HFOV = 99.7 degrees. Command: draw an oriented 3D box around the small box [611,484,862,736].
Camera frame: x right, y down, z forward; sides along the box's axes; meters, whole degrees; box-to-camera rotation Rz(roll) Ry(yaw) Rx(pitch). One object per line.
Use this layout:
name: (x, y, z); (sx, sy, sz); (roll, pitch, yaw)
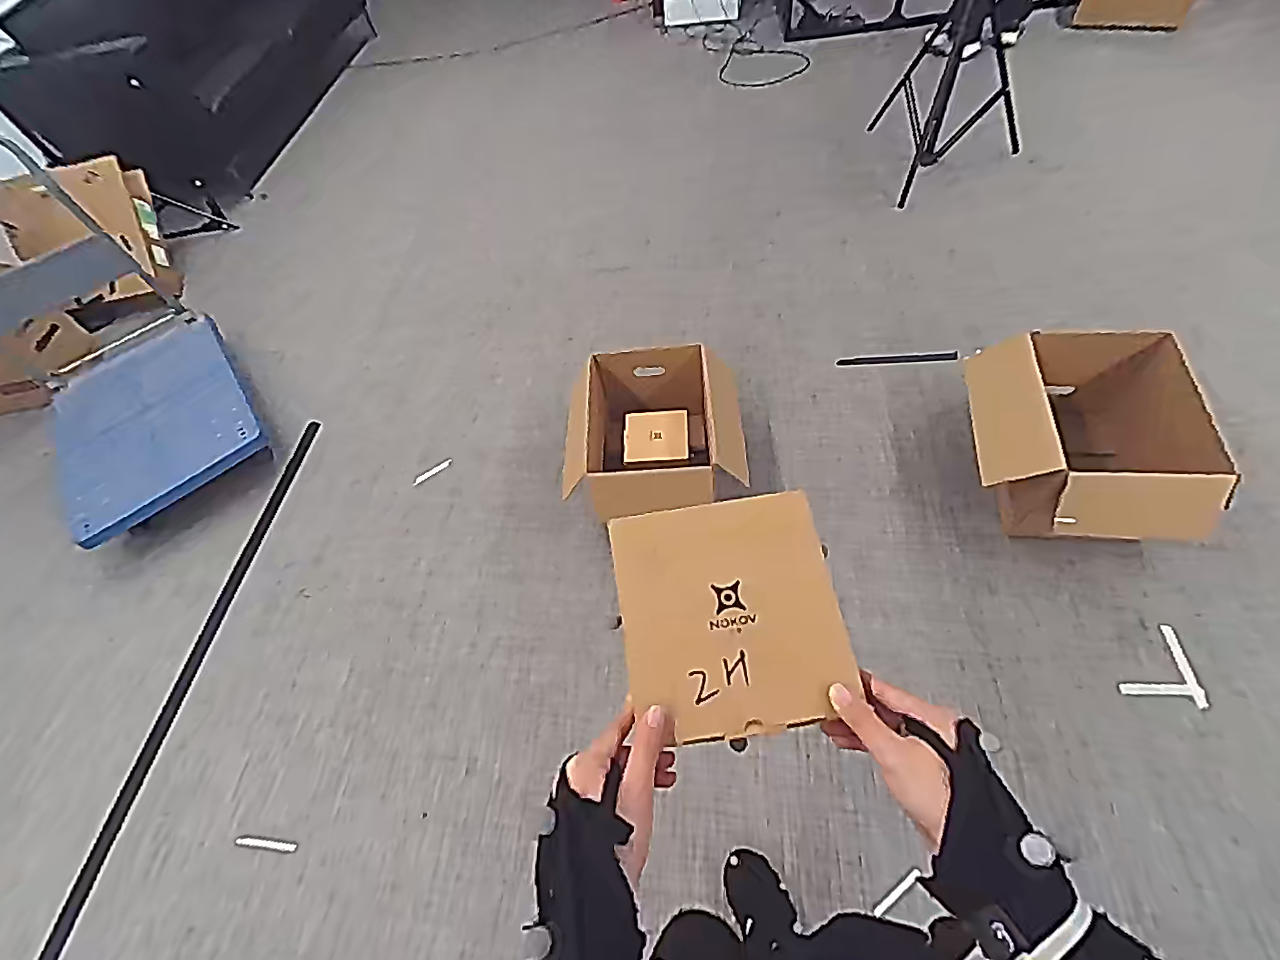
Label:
small box: (0.069, 0.124, 0.488); (0.168, 0.176, 0.179); (-9, 66, -1)
